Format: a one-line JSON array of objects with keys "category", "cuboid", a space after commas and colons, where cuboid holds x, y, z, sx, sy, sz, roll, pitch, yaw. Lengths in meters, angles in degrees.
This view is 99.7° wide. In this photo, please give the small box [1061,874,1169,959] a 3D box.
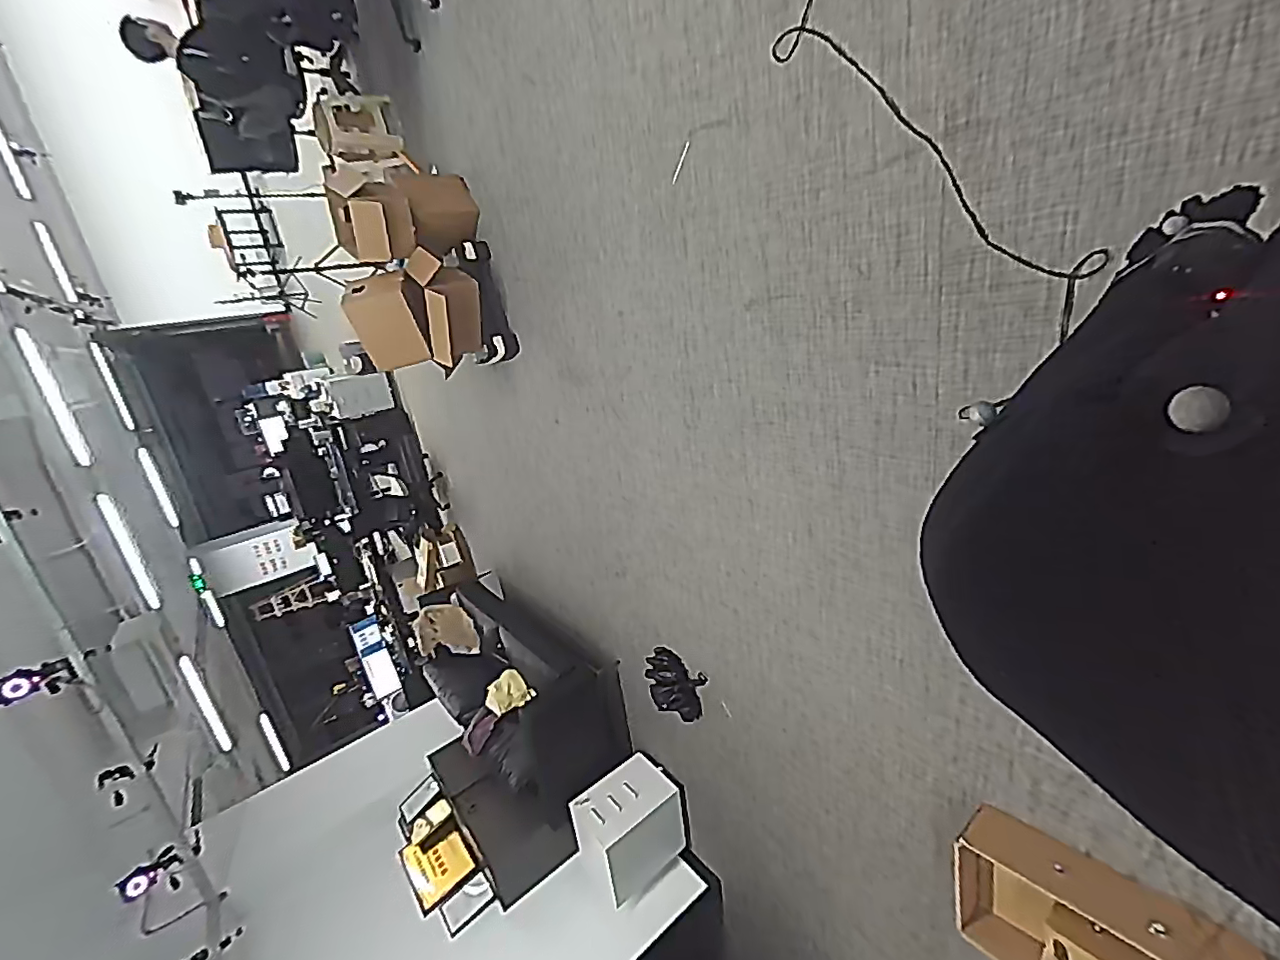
[{"category": "small box", "cuboid": [1.248, 1.193, 1.425, 0.179, 0.176, 0.168, 12, 120, 51]}]
